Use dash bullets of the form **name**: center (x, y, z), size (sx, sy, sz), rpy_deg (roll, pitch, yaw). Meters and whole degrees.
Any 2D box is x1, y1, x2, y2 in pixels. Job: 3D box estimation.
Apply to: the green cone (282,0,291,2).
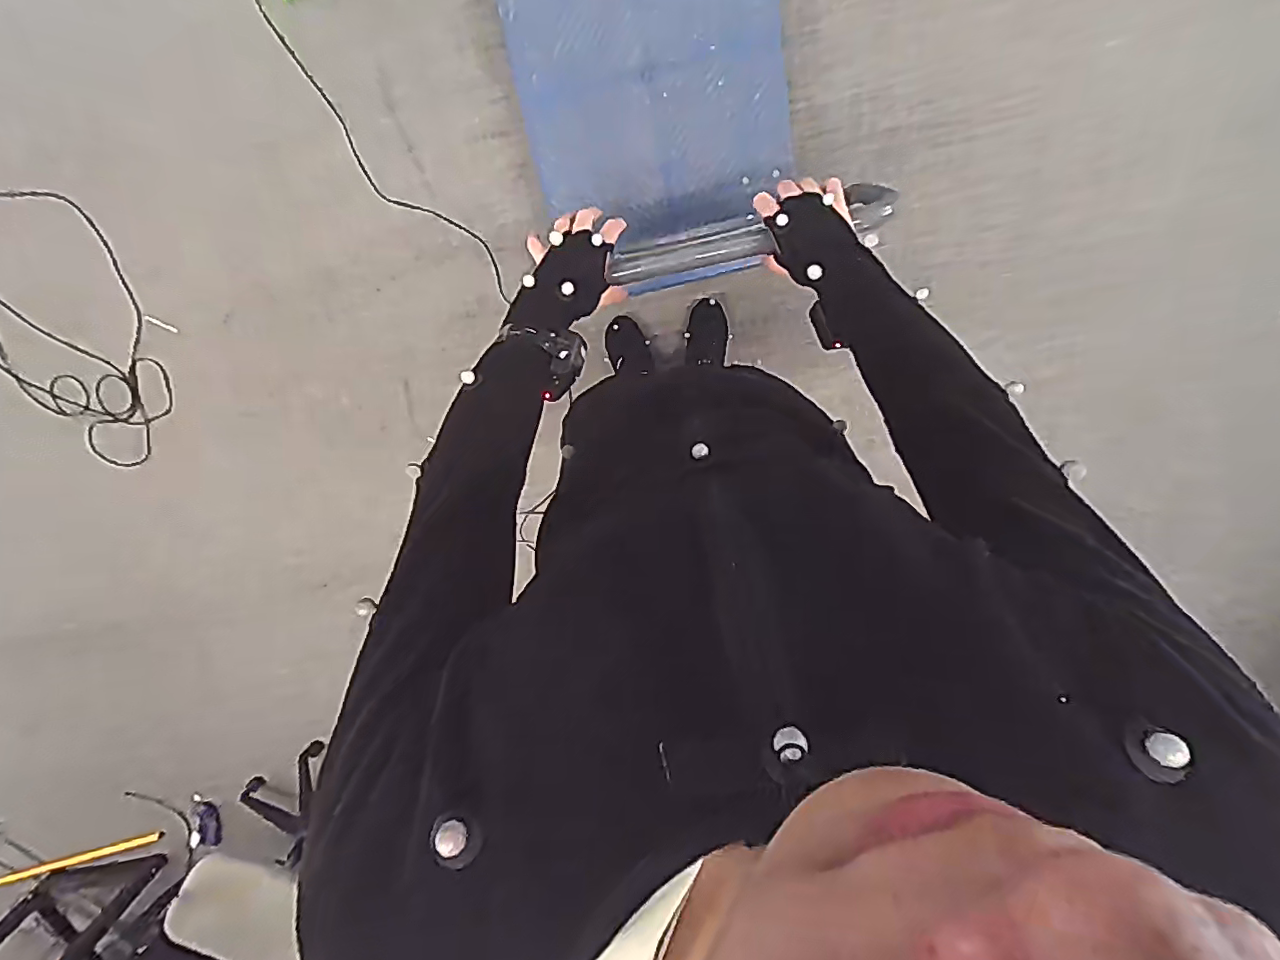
- **green cone**: center (-0.804, -1.185, 1.077), size (0.202, 0.368, 0.200), rpy_deg (-15, 108, 9)
